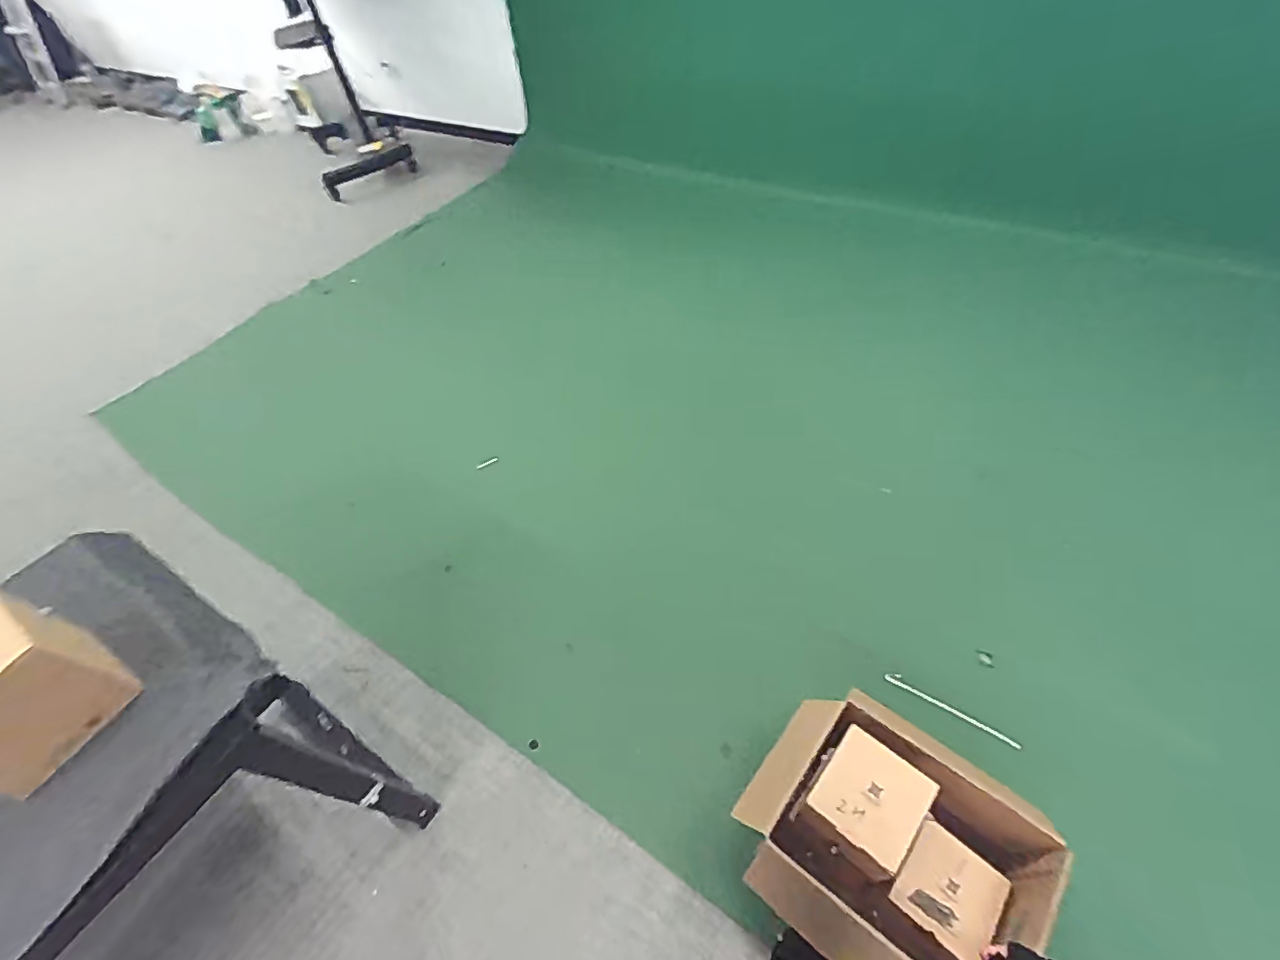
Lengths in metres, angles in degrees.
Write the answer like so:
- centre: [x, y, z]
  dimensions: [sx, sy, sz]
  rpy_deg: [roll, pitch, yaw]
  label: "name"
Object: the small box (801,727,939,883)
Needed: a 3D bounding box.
- centre: [0.419, 0.609, 1.014]
  dimensions: [0.168, 0.176, 0.179]
  rpy_deg: [32, 61, 30]
  label: "small box"
